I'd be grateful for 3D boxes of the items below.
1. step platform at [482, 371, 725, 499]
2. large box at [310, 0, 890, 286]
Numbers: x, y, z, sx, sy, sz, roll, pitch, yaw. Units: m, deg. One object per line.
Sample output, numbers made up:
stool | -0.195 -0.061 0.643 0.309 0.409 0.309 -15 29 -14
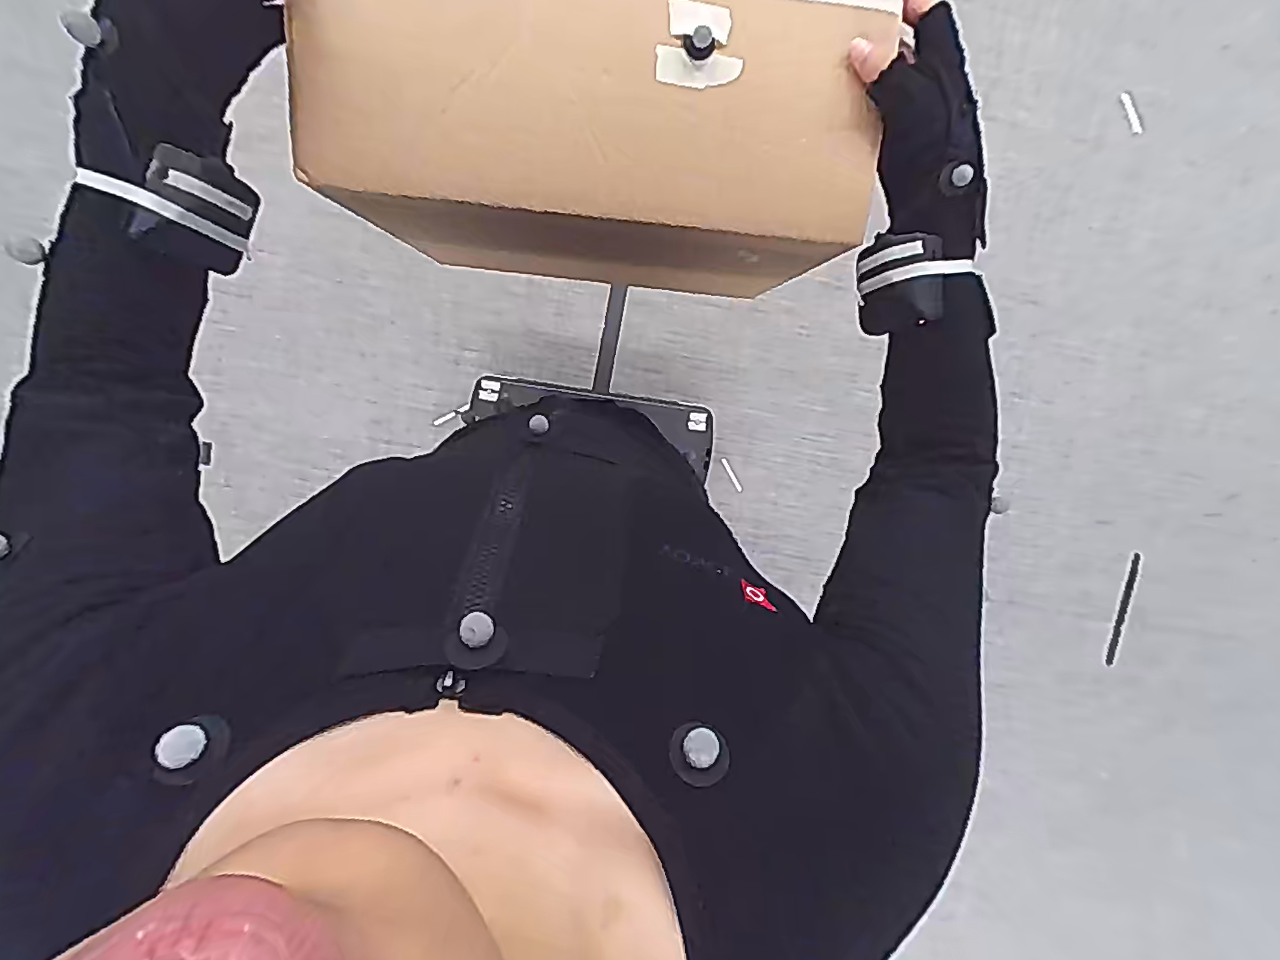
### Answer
step platform | -0.103 -0.130 1.559 0.684 0.204 0.286 7 97 -5
large box | -0.030 -0.382 0.513 0.408 0.320 0.320 5 102 -5
